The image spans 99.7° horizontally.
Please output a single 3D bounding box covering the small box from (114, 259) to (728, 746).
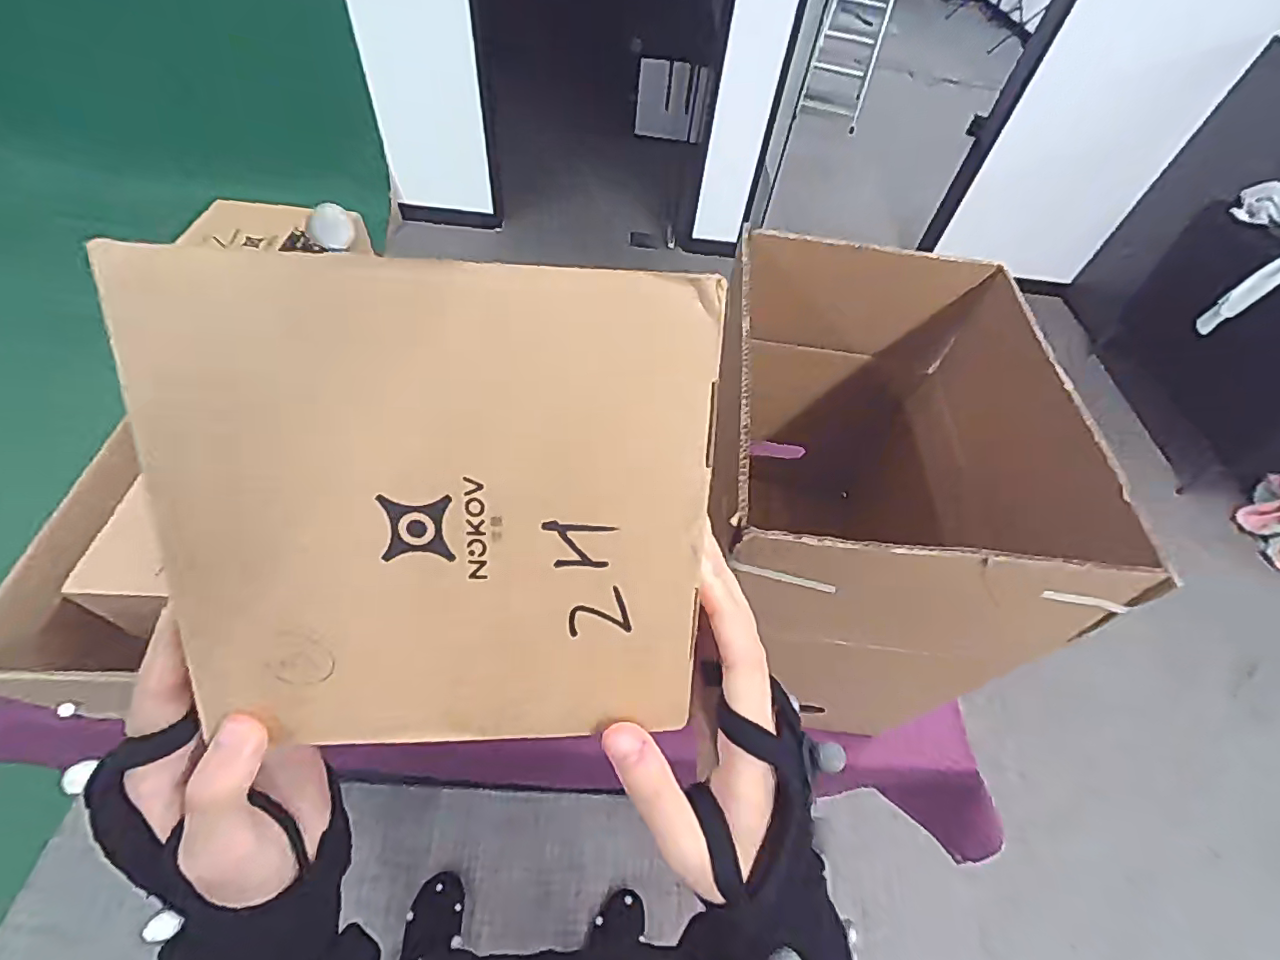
[{"bbox_3d":[-0.070,-0.004,0.256,0.179,0.168,0.176,1,18,-6],"label":"small box"}]
